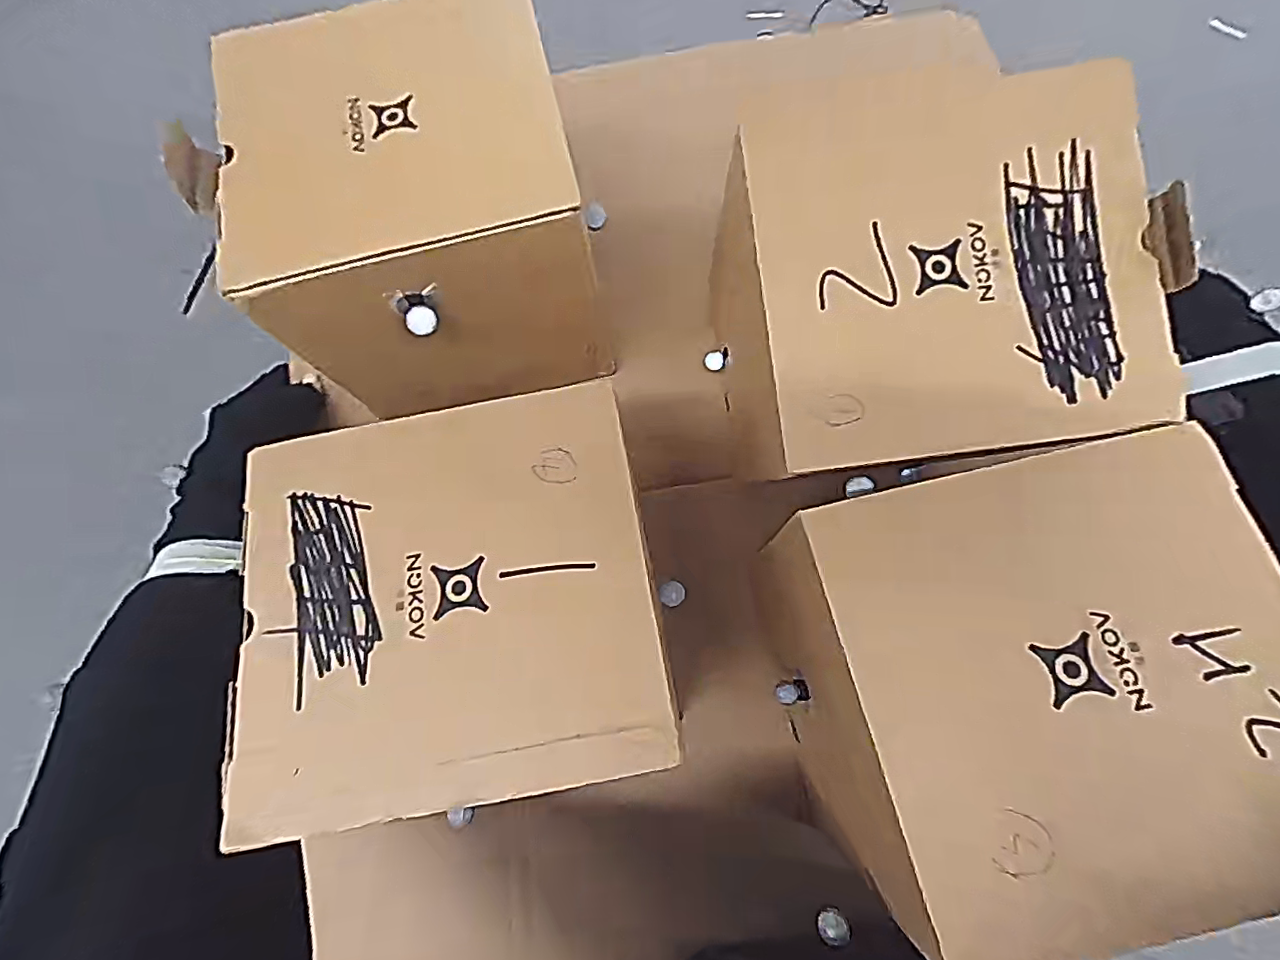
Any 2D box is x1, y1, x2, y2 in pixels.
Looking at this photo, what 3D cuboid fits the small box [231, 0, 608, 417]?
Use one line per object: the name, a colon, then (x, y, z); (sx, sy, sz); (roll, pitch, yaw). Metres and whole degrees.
small box: (-0.122, -0.160, 0.358); (0.179, 0.176, 0.168); (-13, 73, 1)
